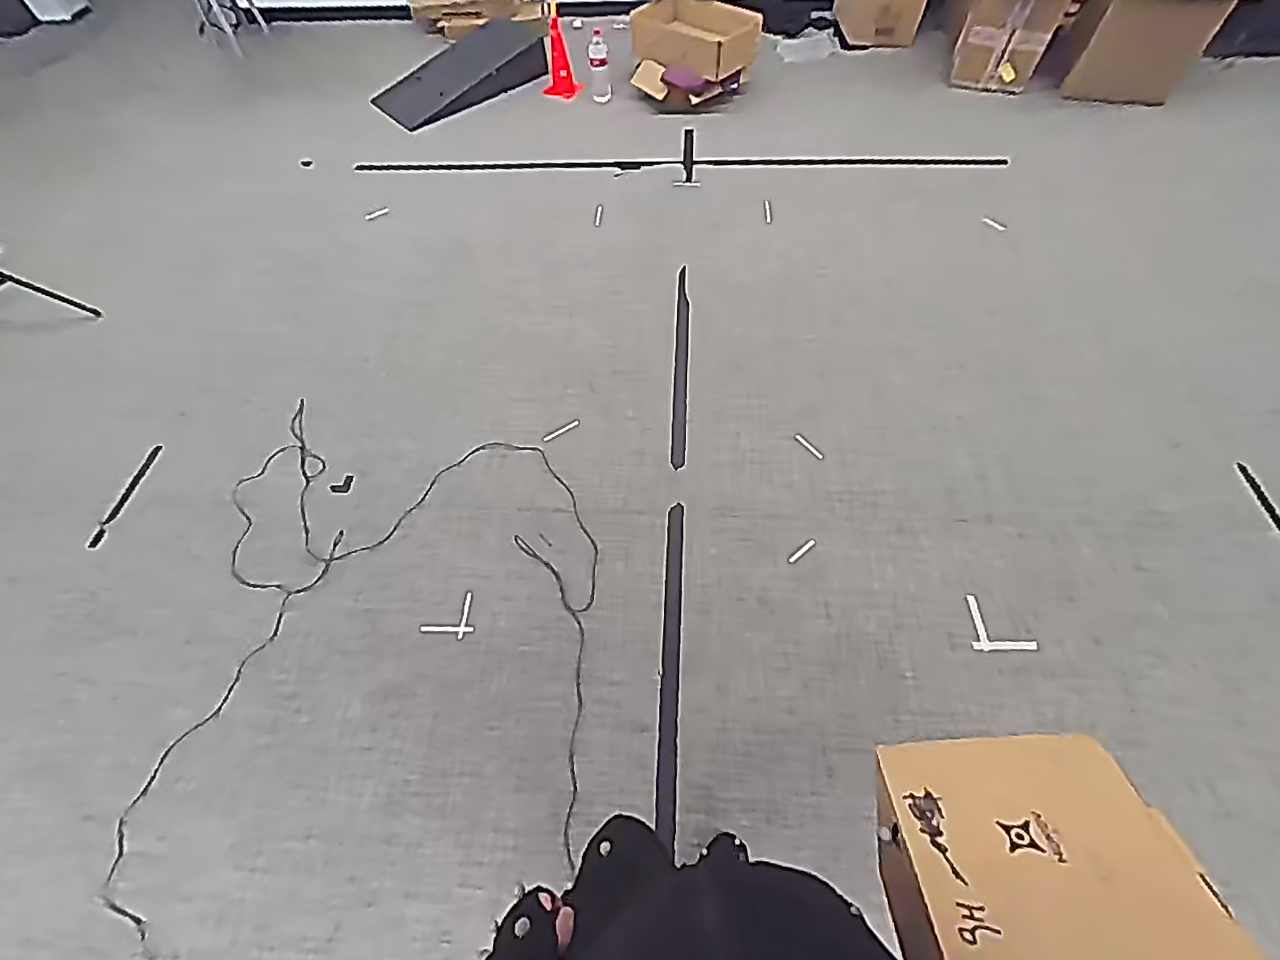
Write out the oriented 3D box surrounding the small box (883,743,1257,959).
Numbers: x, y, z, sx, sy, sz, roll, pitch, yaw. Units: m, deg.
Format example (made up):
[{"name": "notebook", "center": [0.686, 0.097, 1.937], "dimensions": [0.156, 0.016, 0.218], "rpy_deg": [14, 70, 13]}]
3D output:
[{"name": "small box", "center": [0.303, 0.337, 0.427], "dimensions": [0.179, 0.176, 0.168], "rpy_deg": [-7, 22, 11]}]
